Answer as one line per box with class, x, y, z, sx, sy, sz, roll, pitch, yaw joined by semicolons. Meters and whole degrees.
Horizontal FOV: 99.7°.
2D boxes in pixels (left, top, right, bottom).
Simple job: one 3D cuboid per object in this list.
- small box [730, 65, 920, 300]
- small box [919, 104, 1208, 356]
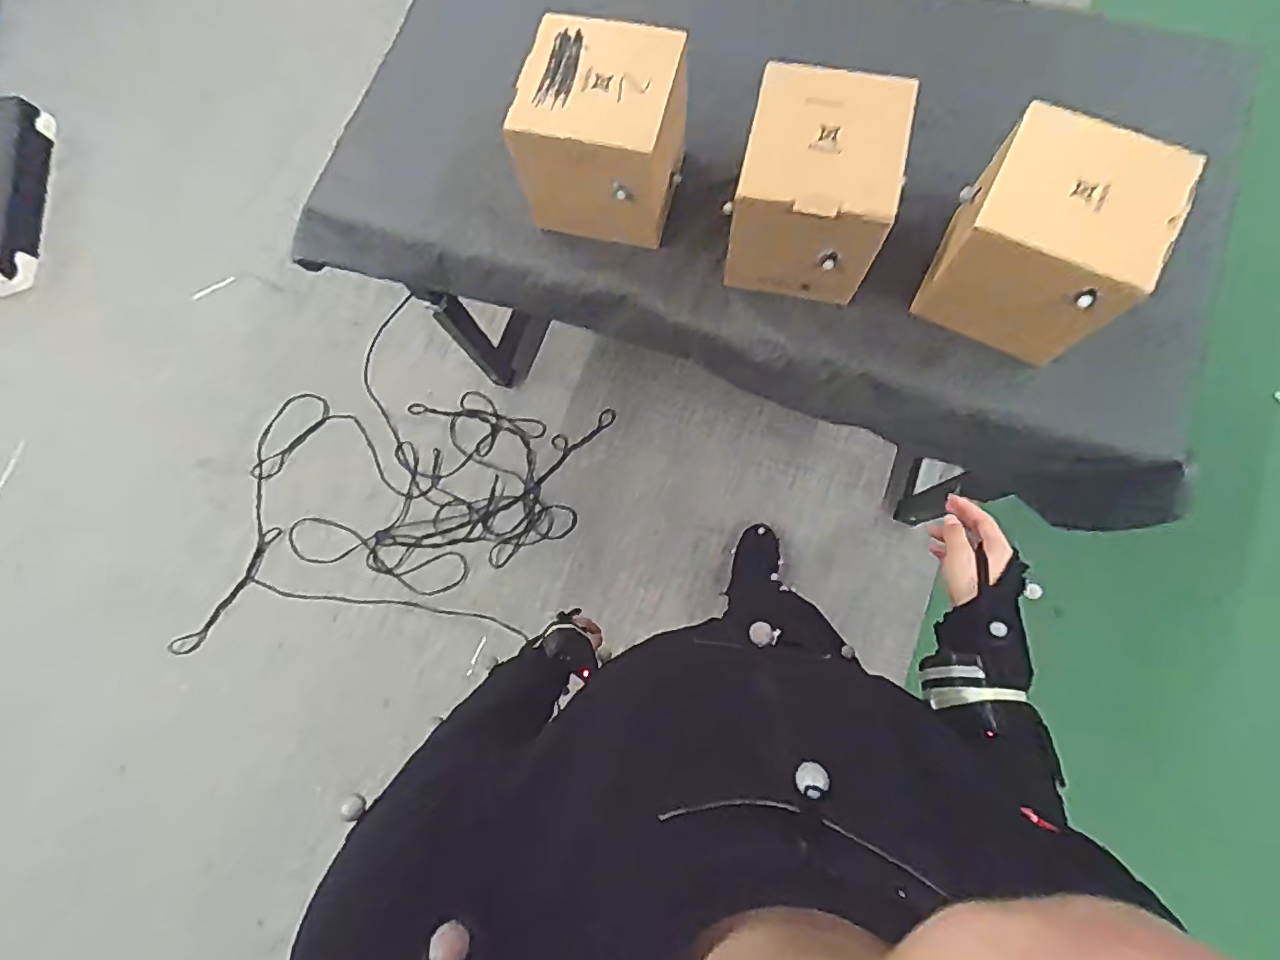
small box;0.208;-0.343;0.650;0.168;0.176;0.179;12;77;6
small box;0.455;-0.268;0.613;0.179;0.176;0.168;27;81;10
